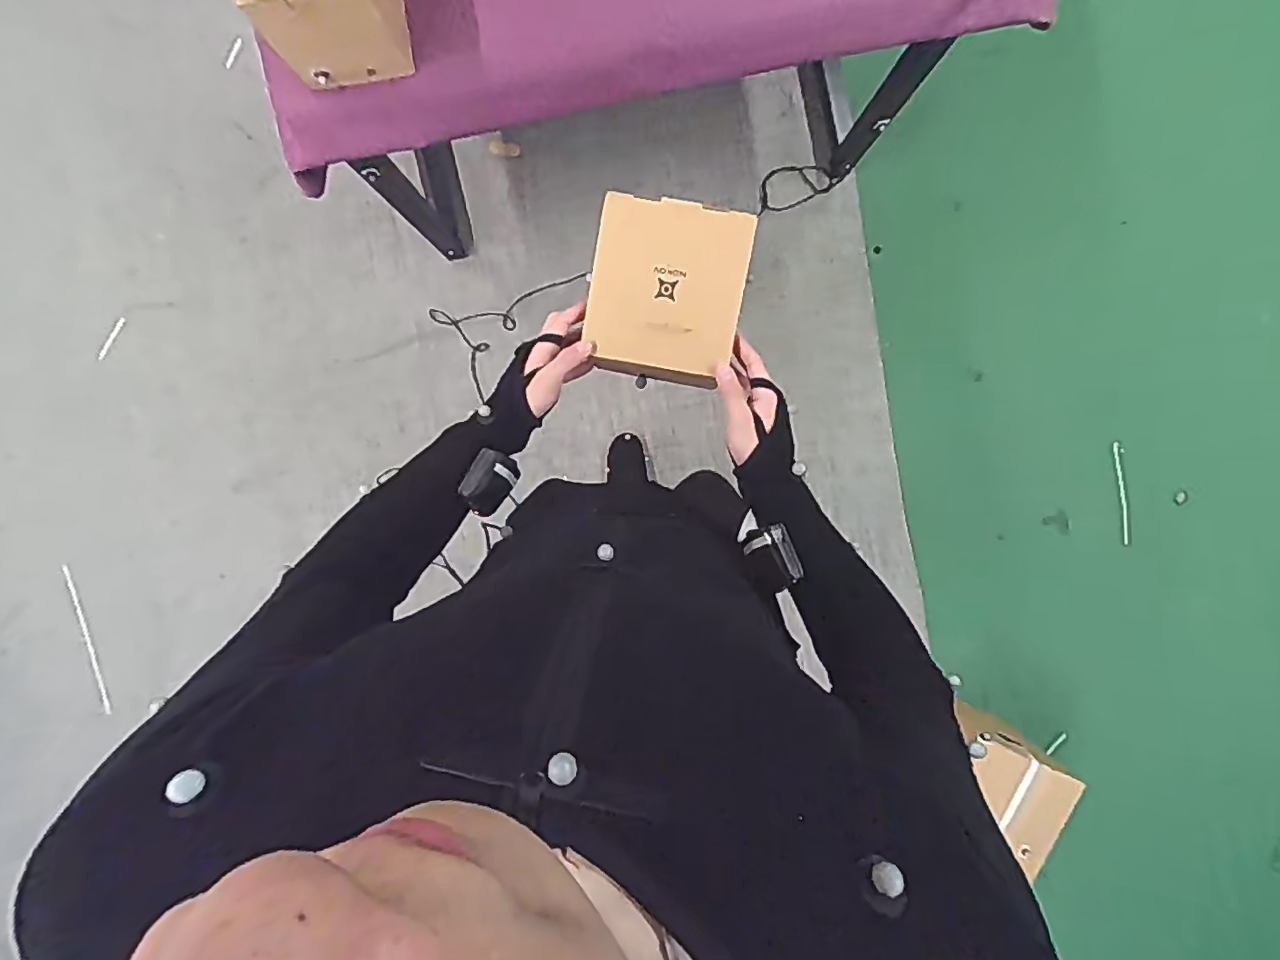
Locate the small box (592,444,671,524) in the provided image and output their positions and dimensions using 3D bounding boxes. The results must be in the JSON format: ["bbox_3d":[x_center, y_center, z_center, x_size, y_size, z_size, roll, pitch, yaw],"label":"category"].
[{"bbox_3d":[-0.025,0.010,1.566,0.179,0.176,0.168,37,93,4],"label":"small box"}]

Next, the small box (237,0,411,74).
[{"bbox_3d":[-0.435,-0.696,0.739,0.168,0.176,0.179,-9,94,0],"label":"small box"}]

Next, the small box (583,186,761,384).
[{"bbox_3d":[0.036,-0.220,0.656,0.168,0.176,0.179,10,97,2],"label":"small box"}]
